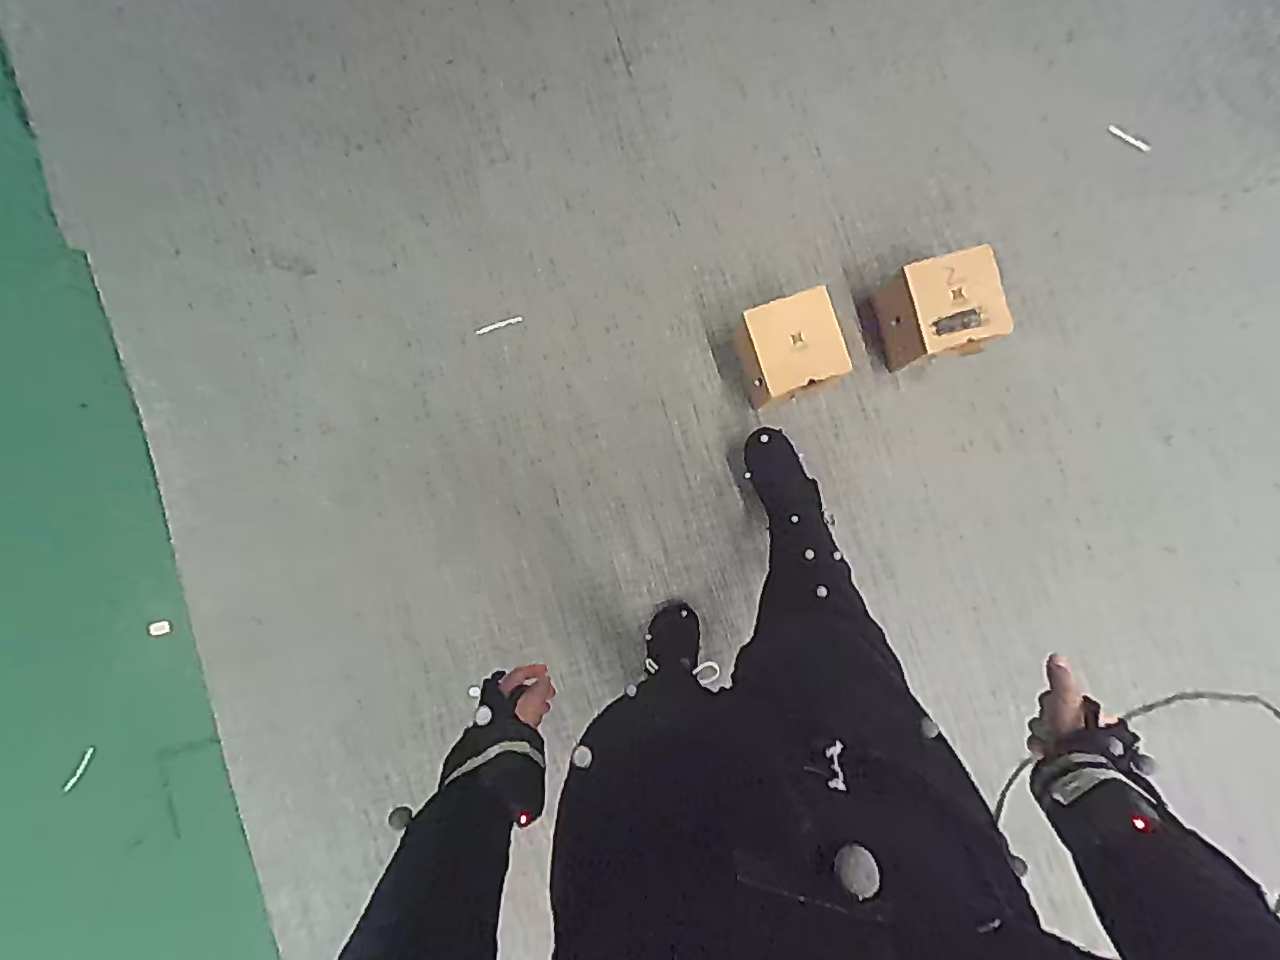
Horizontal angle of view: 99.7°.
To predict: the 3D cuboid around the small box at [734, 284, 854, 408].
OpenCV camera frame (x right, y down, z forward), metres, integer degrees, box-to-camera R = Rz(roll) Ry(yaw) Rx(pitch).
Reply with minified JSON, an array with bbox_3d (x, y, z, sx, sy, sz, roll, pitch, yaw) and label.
[{"bbox_3d":[0.298,-0.261,1.091,0.168,0.176,0.179,-18,88,1],"label":"small box"}]
